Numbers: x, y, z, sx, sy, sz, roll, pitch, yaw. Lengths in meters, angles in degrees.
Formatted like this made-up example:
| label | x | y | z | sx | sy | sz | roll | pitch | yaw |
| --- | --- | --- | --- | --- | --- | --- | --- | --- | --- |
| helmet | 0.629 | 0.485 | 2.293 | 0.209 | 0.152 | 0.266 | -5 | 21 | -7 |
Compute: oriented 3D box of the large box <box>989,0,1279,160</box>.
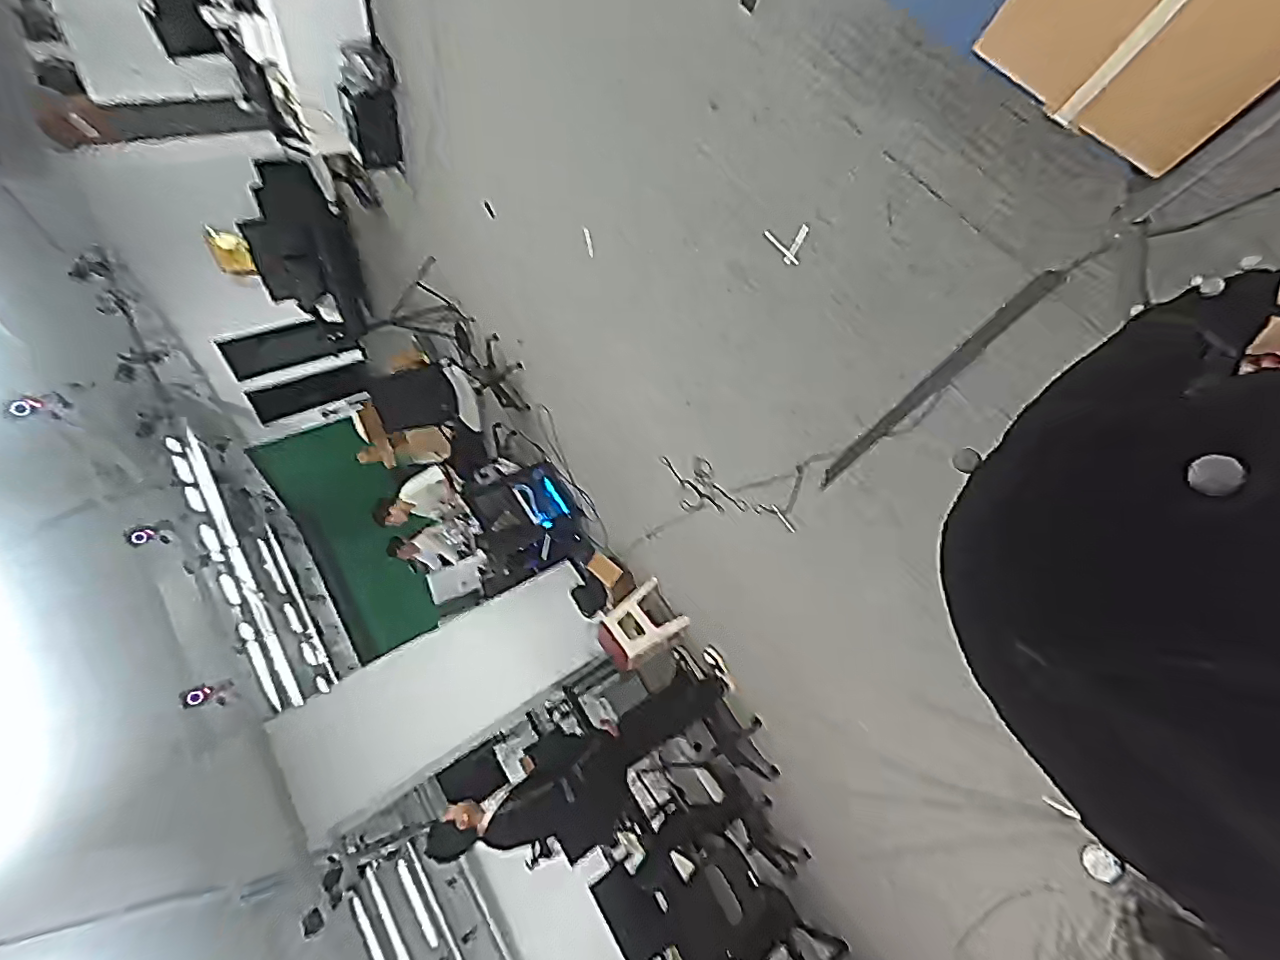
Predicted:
| label | x | y | z | sx | sy | sz | roll | pitch | yaw |
| --- | --- | --- | --- | --- | --- | --- | --- | --- | --- |
| large box | 0.733 | -0.704 | 0.650 | 0.320 | 0.320 | 0.408 | 37 | 148 | 3 |
